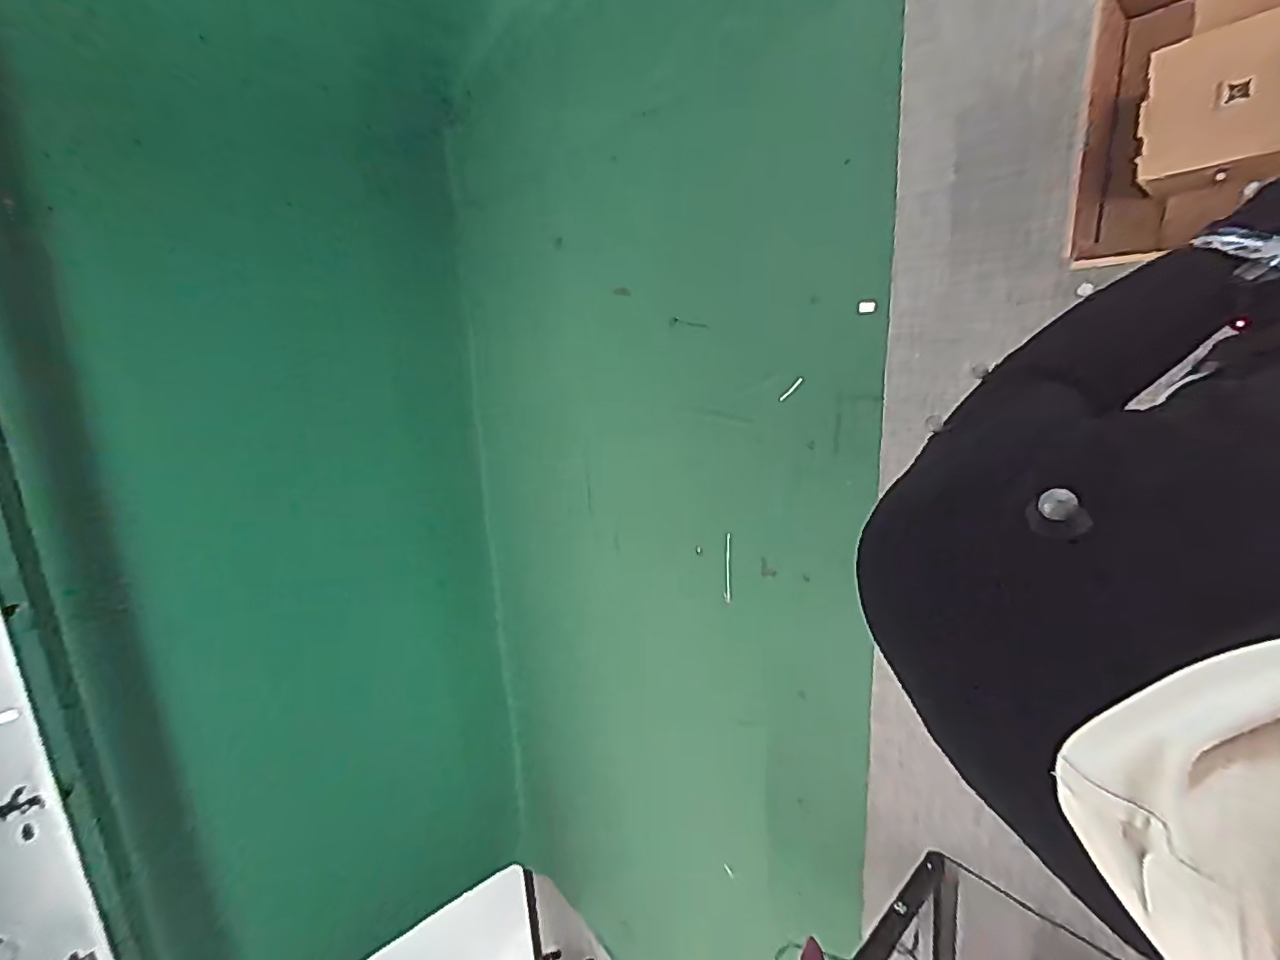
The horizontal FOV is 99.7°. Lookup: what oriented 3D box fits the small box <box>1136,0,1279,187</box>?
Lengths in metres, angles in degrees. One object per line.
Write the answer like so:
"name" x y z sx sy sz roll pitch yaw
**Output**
"small box" 0.820 -0.521 0.740 0.179 0.176 0.168 11 109 48
